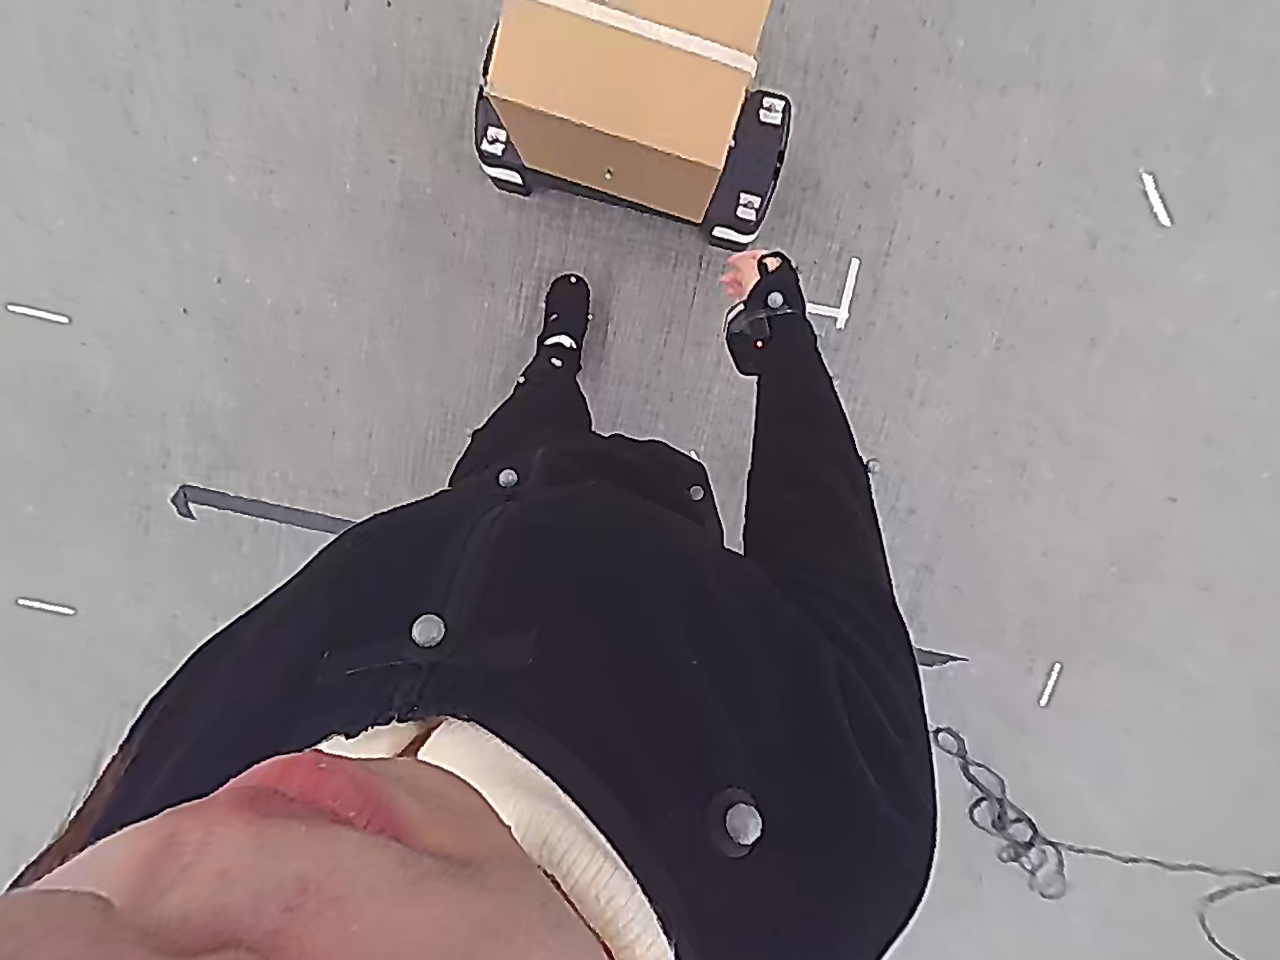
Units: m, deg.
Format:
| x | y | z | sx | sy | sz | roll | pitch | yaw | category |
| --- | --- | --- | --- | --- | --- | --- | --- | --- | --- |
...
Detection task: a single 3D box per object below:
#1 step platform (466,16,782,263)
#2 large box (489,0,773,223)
| x | y | z | sx | sy | sz | roll | pitch | yaw | category |
| --- | --- | --- | --- | --- | --- | --- | --- | --- | --- |
| -0.033 | -0.756 | 1.232 | 0.684 | 0.204 | 0.286 | 18 | 99 | -3 | step platform |
| -0.010 | -0.721 | 0.995 | 0.408 | 0.320 | 0.320 | 16 | 99 | -2 | large box |
